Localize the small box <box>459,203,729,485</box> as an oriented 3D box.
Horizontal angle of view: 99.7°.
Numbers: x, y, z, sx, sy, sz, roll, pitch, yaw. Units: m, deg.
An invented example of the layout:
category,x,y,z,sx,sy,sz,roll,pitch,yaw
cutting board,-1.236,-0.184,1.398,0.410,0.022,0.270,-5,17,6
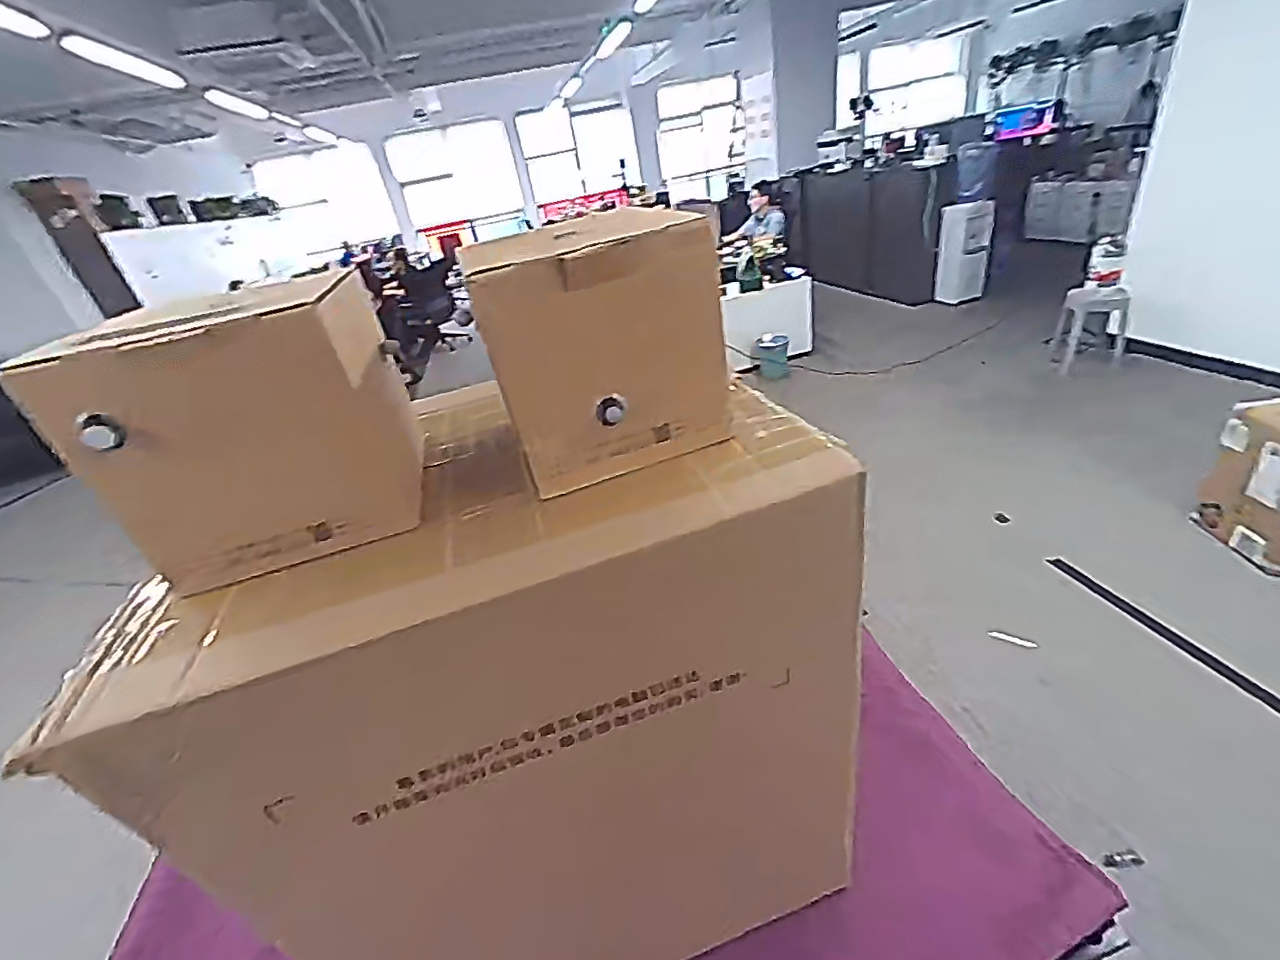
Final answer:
category,x,y,z,sx,sy,sz,roll,pitch,yaw
small box,-0.040,-0.120,0.449,0.168,0.176,0.179,-19,32,-11
